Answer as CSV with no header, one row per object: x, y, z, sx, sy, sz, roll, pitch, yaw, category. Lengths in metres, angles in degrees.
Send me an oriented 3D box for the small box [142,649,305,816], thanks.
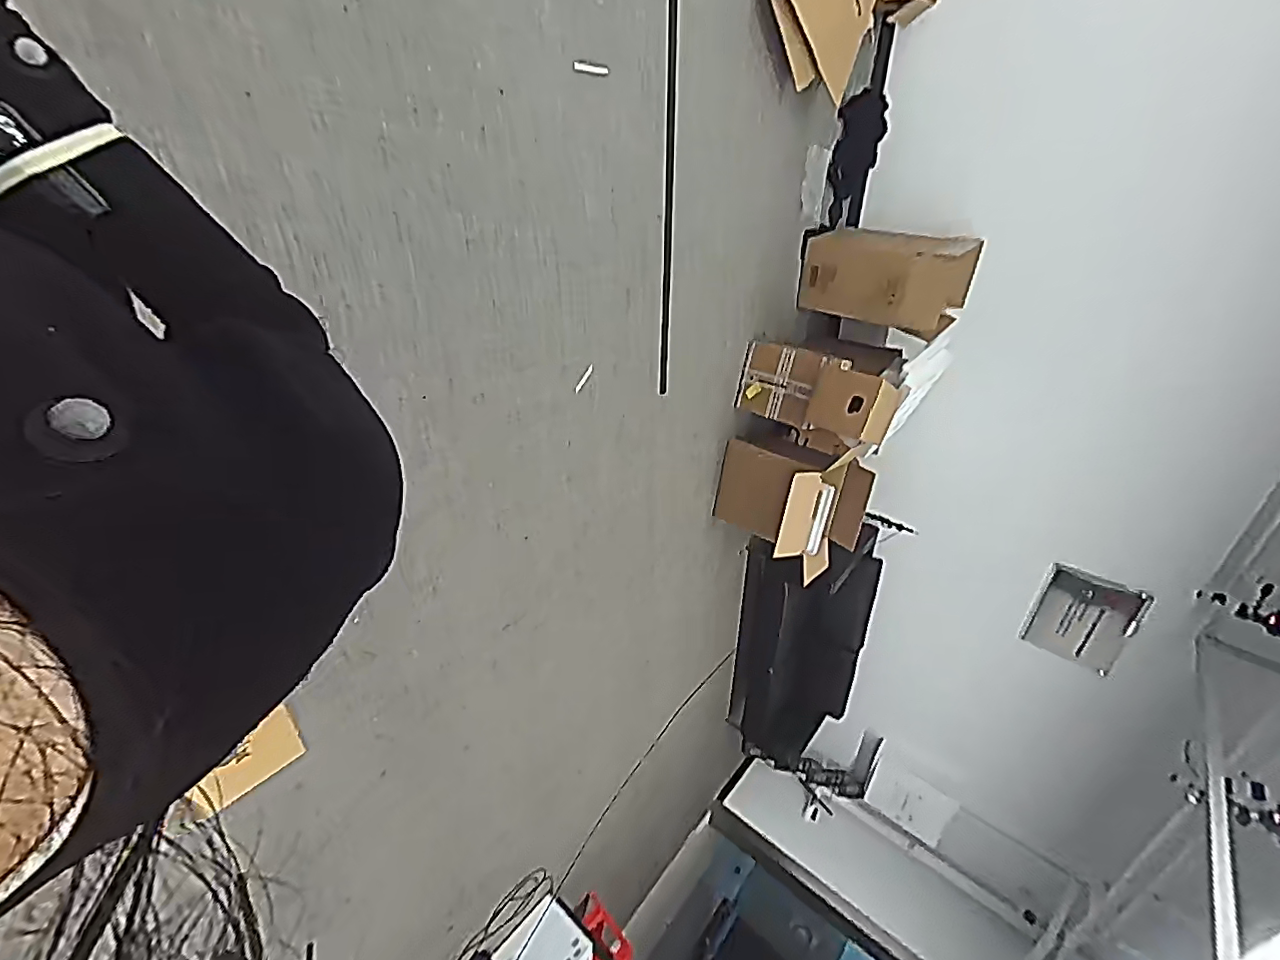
-0.745,0.443,0.973,0.168,0.176,0.179,-31,130,-41,small box
